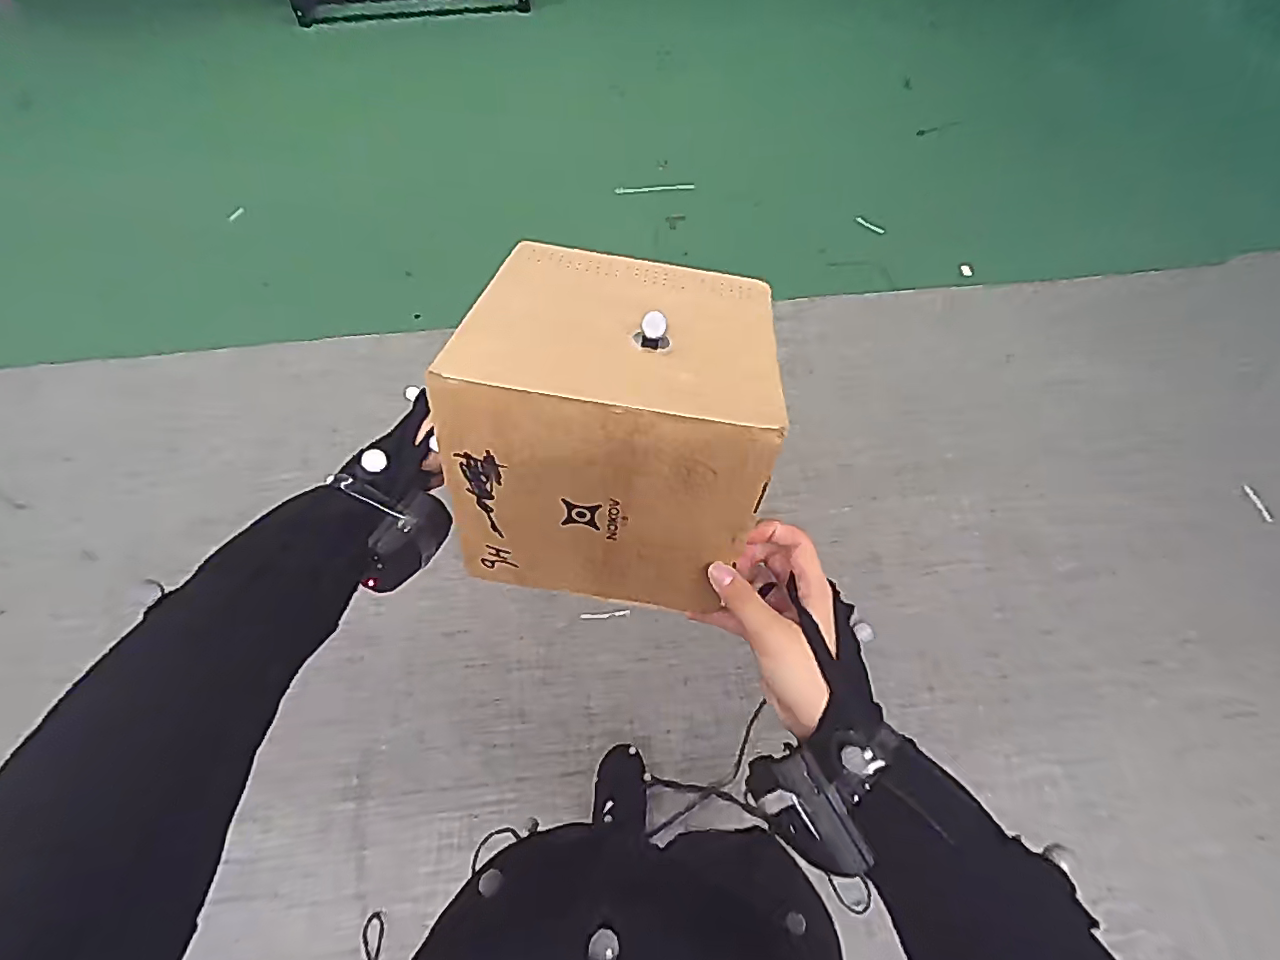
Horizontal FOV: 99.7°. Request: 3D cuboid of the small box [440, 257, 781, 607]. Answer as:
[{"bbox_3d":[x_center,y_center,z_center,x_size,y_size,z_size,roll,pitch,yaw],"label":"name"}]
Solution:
[{"bbox_3d":[-0.017,-0.037,0.379,0.179,0.168,0.176,9,43,-1],"label":"small box"}]
